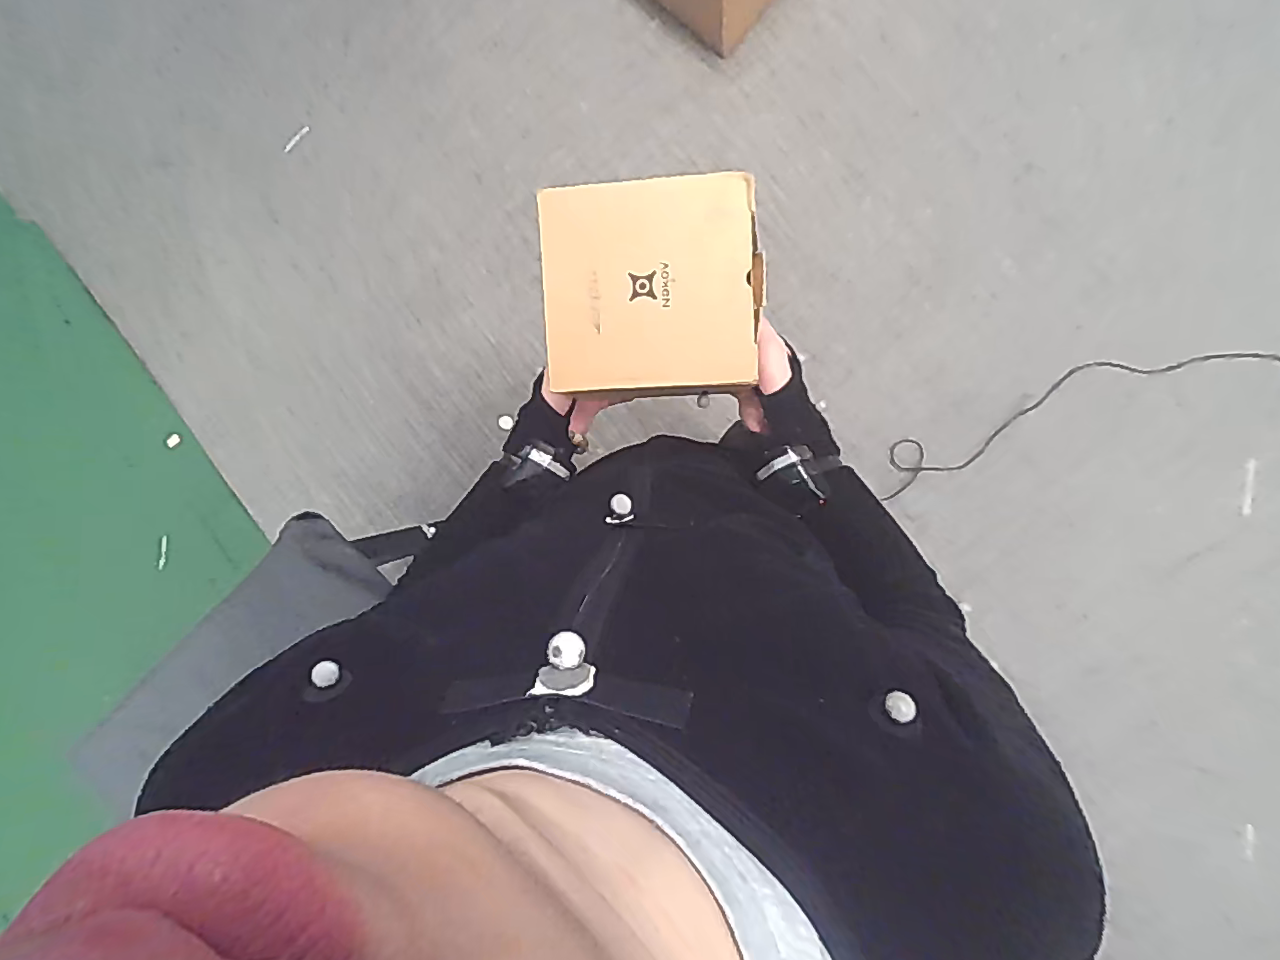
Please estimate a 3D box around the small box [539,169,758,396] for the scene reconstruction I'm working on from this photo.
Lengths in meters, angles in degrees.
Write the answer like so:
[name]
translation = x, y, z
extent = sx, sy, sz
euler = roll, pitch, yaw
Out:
[small box]
translation = 0.015, -0.169, 0.517
extent = 0.179, 0.176, 0.168
euler = -2, 96, 7
